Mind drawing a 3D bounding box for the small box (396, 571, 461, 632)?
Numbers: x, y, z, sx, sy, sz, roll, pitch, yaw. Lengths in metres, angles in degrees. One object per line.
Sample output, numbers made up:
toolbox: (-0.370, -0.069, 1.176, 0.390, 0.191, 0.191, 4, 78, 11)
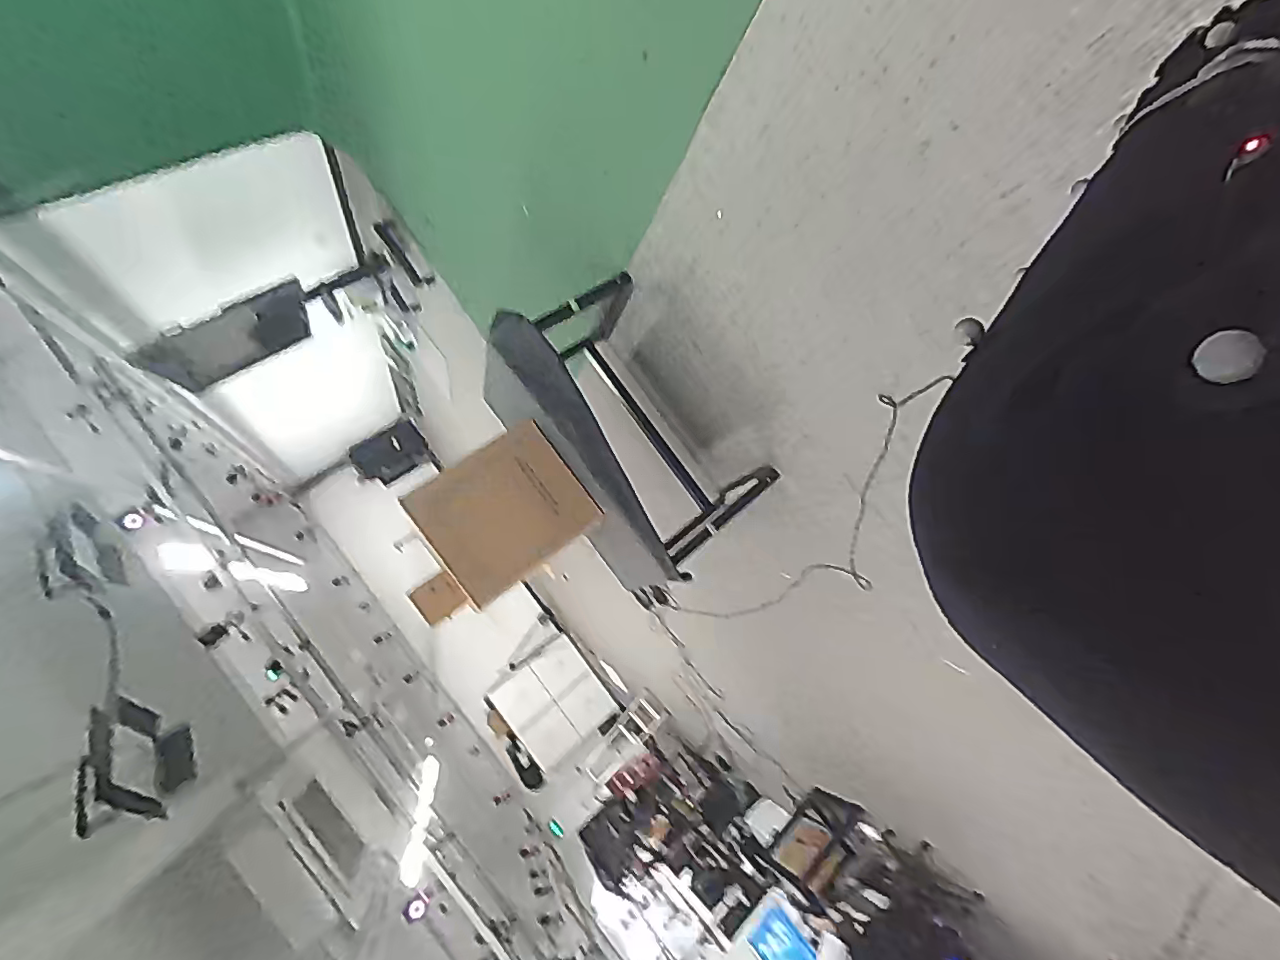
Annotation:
small box: (-0.808, 0.466, 2.083, 0.168, 0.176, 0.179, 52, 155, 3)
